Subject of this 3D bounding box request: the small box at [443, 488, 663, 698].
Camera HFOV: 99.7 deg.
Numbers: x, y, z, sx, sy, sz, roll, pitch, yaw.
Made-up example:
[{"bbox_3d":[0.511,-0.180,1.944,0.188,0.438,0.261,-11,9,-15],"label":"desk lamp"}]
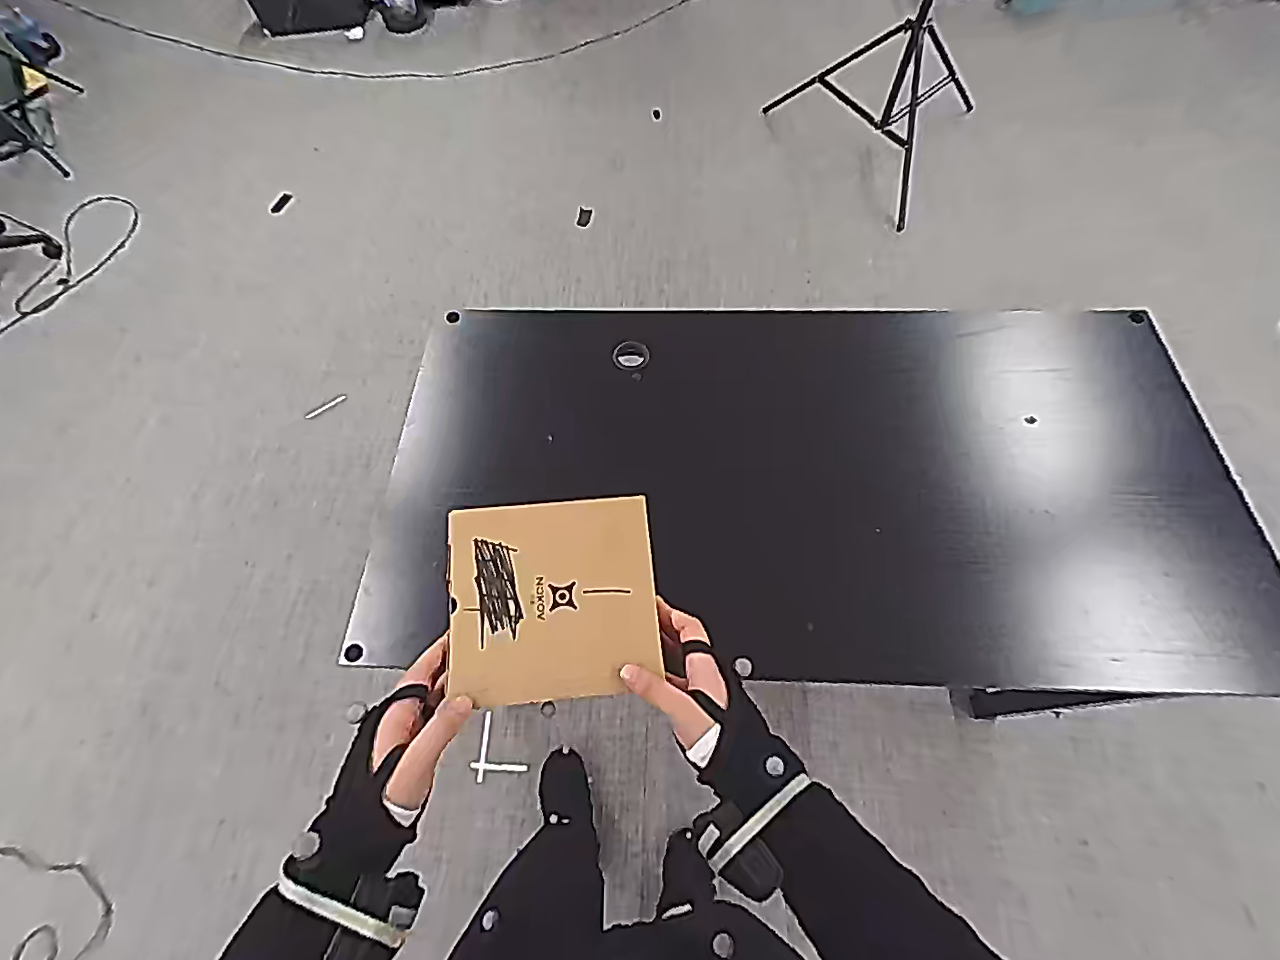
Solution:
[{"bbox_3d":[-0.077,0.117,0.526,0.179,0.176,0.168,-4,71,-5],"label":"small box"}]
